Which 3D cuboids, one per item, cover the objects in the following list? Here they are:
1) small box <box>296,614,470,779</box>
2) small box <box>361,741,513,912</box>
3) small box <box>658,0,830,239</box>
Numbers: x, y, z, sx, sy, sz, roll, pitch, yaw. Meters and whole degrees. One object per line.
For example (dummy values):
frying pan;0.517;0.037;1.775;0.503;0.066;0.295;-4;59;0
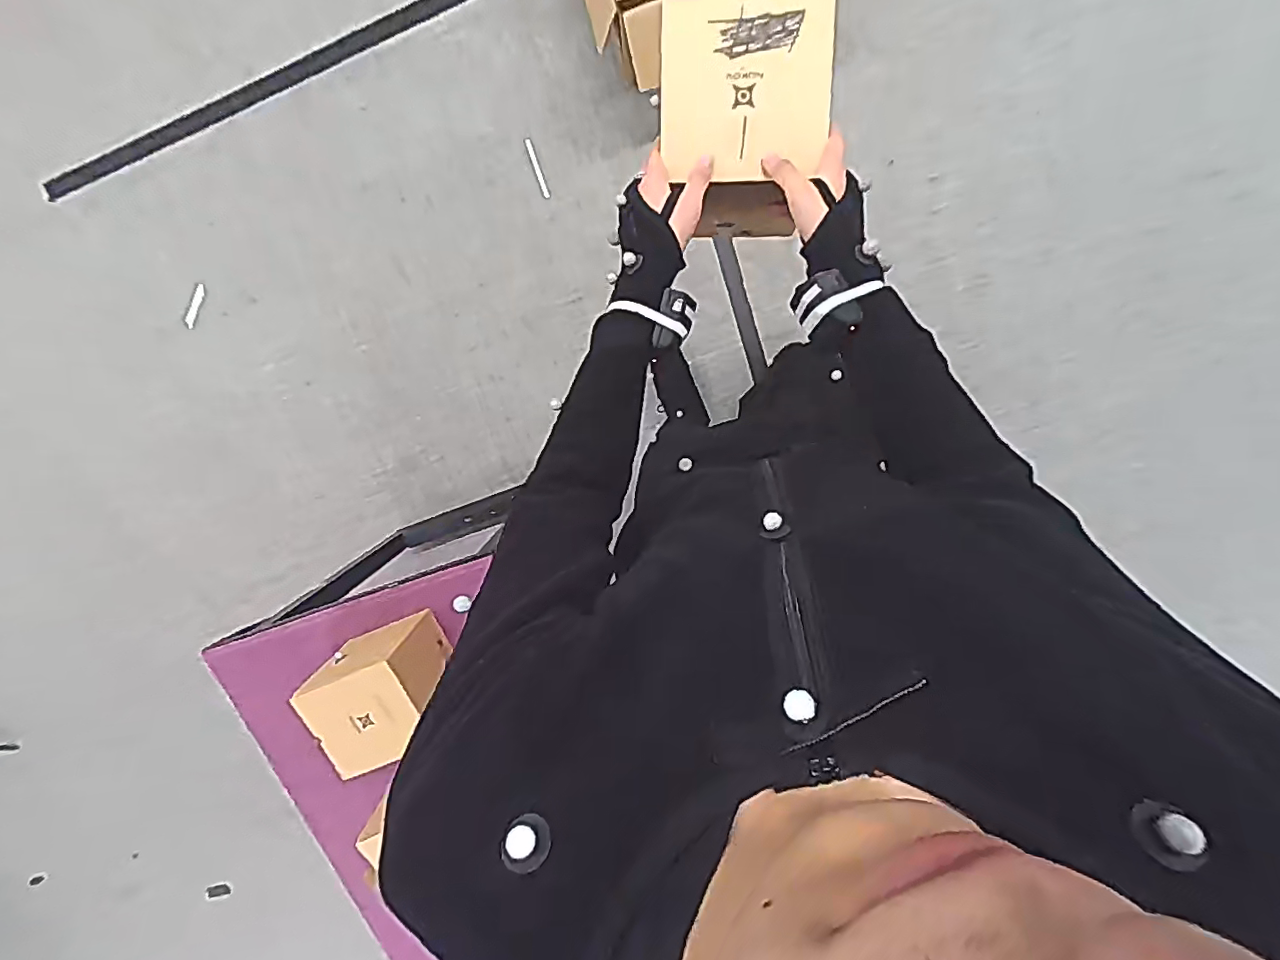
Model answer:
small box;-0.423;0.359;0.920;0.179;0.176;0.168;-23;103;8
small box;-0.350;0.615;0.979;0.179;0.176;0.168;-28;101;9
small box;0.105;-0.390;0.606;0.168;0.176;0.179;0;96;5
